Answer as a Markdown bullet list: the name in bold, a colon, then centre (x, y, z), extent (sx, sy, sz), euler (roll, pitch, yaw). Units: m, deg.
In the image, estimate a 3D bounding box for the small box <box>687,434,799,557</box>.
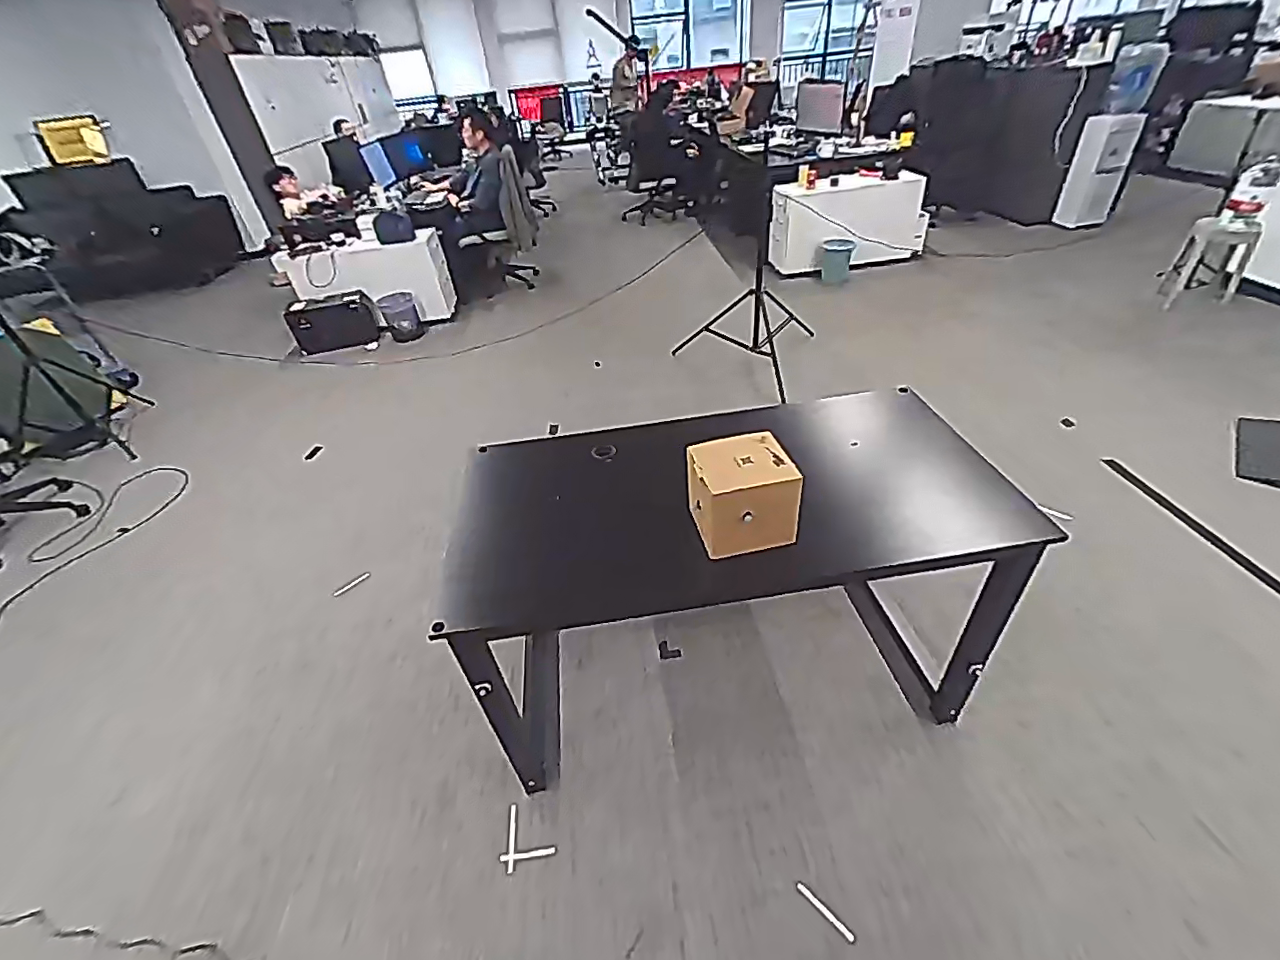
- **small box**: centre (0.202, 0.034, 1.085), extent (0.179, 0.176, 0.168), euler (-11, 38, -5)
